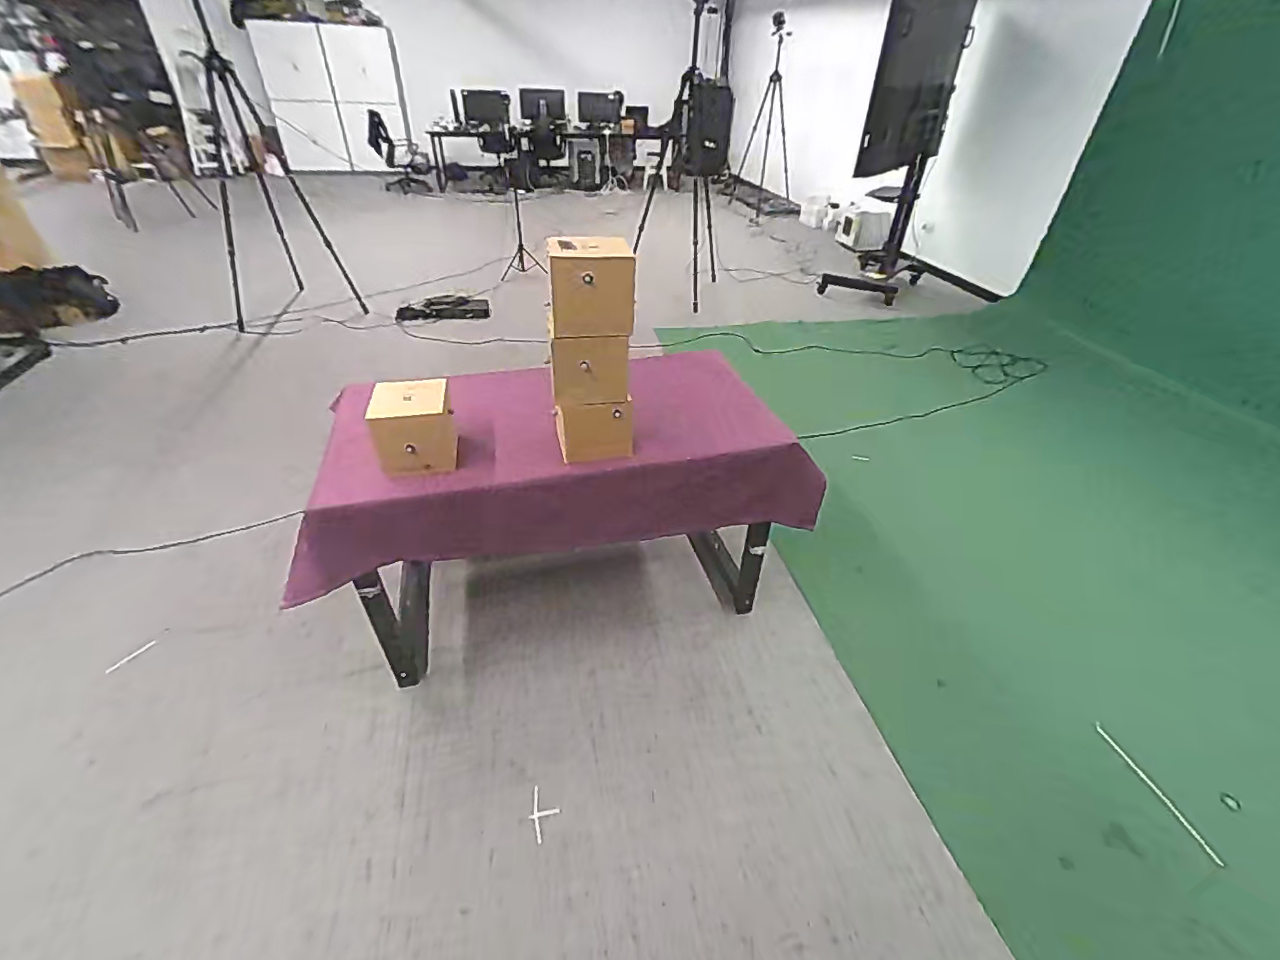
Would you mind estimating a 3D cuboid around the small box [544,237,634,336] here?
[{"bbox_3d":[-0.113,-0.421,1.179,0.179,0.176,0.168,-4,37,-10],"label":"small box"}]

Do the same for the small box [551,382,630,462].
[{"bbox_3d":[-0.125,-0.160,1.378,0.179,0.176,0.168,-7,38,-12],"label":"small box"}]

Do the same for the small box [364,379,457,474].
[{"bbox_3d":[-0.545,-0.125,1.310,0.168,0.176,0.179,-6,38,-11],"label":"small box"}]

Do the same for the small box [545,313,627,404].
[{"bbox_3d":[-0.127,-0.290,1.278,0.179,0.176,0.168,-5,38,-9],"label":"small box"}]
